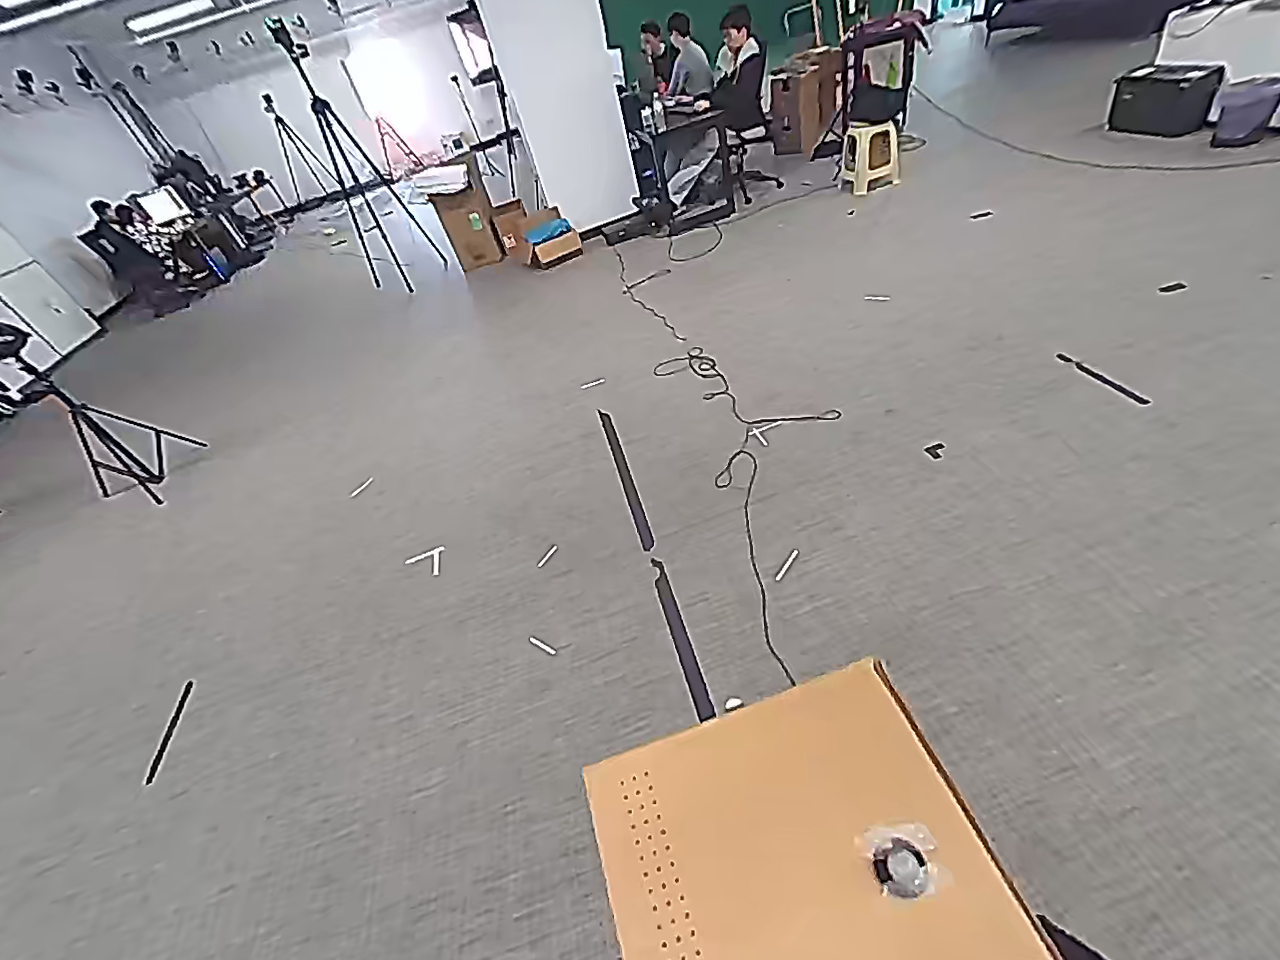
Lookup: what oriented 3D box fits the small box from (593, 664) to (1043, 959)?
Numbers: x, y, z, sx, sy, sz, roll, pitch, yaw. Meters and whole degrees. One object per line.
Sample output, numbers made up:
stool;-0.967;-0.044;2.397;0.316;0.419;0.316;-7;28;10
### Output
small box;0.083;0.237;0.302;0.176;0.168;0.179;-20;53;-2
